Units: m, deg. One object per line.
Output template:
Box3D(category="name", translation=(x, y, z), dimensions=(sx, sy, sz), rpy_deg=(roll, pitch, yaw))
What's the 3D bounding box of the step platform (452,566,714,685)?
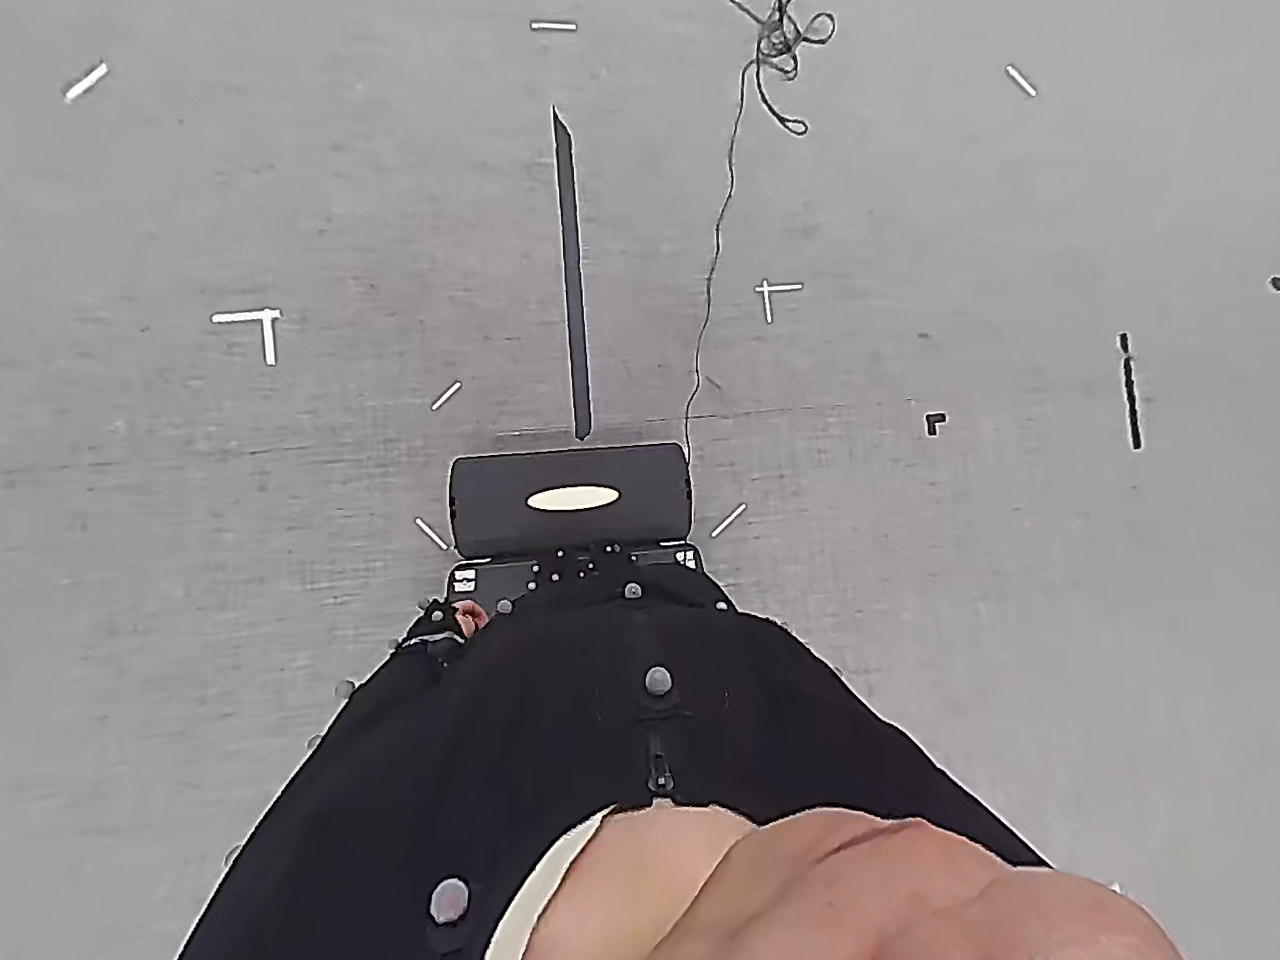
Box3D(category="step platform", translation=(-0.146, 0.382, 1.453), dimensions=(0.684, 0.204, 0.286), rpy_deg=(0, 83, -5))
